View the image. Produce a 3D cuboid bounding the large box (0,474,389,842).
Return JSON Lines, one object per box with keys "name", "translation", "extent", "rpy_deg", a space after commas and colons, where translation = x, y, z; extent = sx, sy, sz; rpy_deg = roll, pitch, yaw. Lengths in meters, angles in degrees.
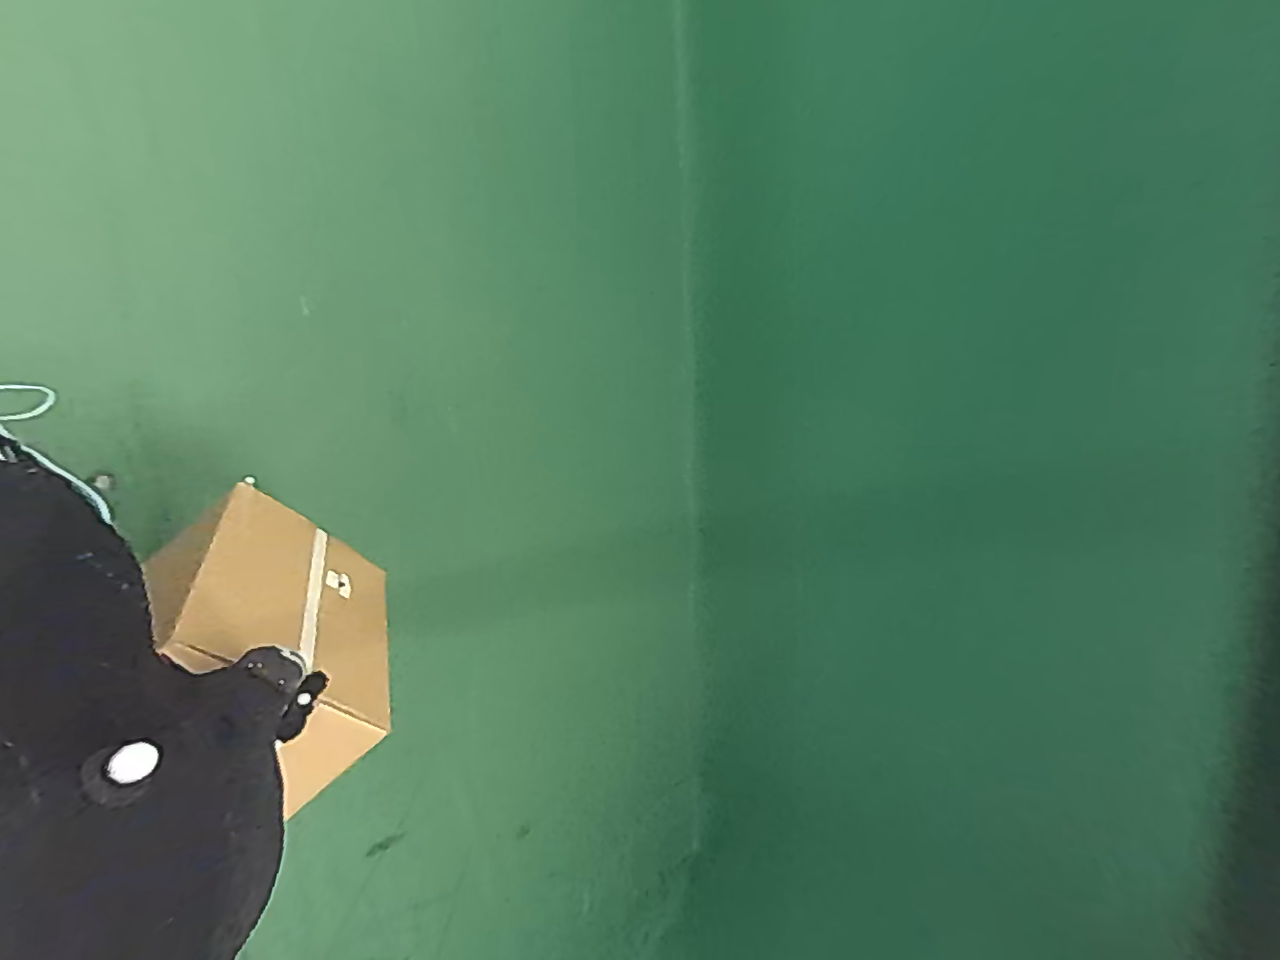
{"name": "large box", "translation": [-0.646, 0.267, 0.863], "extent": [0.320, 0.408, 0.320], "rpy_deg": [-41, 128, -1]}
